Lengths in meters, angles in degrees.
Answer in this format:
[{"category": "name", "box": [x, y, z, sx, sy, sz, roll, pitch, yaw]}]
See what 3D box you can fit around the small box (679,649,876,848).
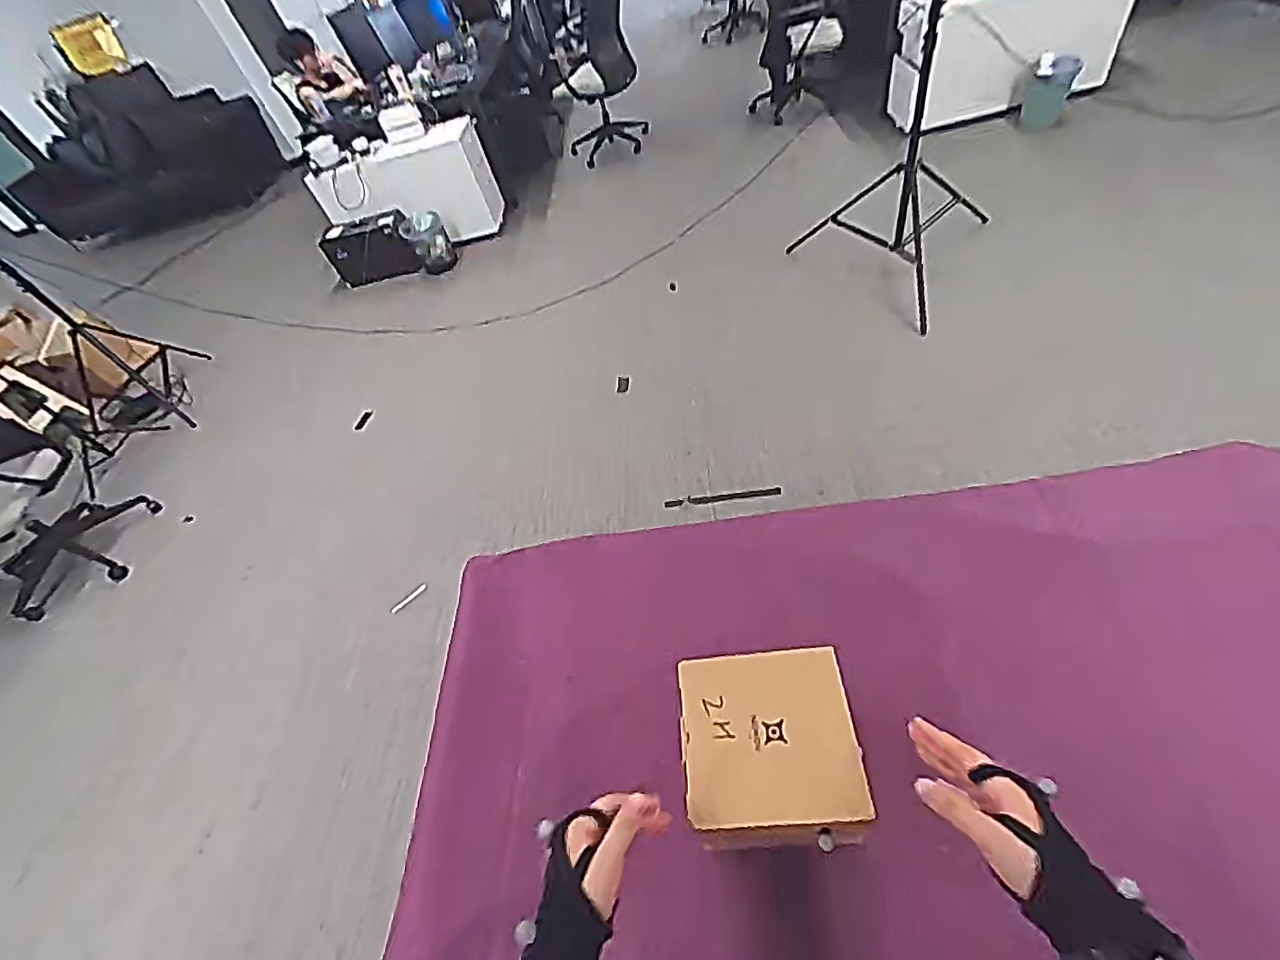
[{"category": "small box", "box": [0.145, 0.308, 0.612, 0.179, 0.176, 0.168, -9, 49, 9]}]
